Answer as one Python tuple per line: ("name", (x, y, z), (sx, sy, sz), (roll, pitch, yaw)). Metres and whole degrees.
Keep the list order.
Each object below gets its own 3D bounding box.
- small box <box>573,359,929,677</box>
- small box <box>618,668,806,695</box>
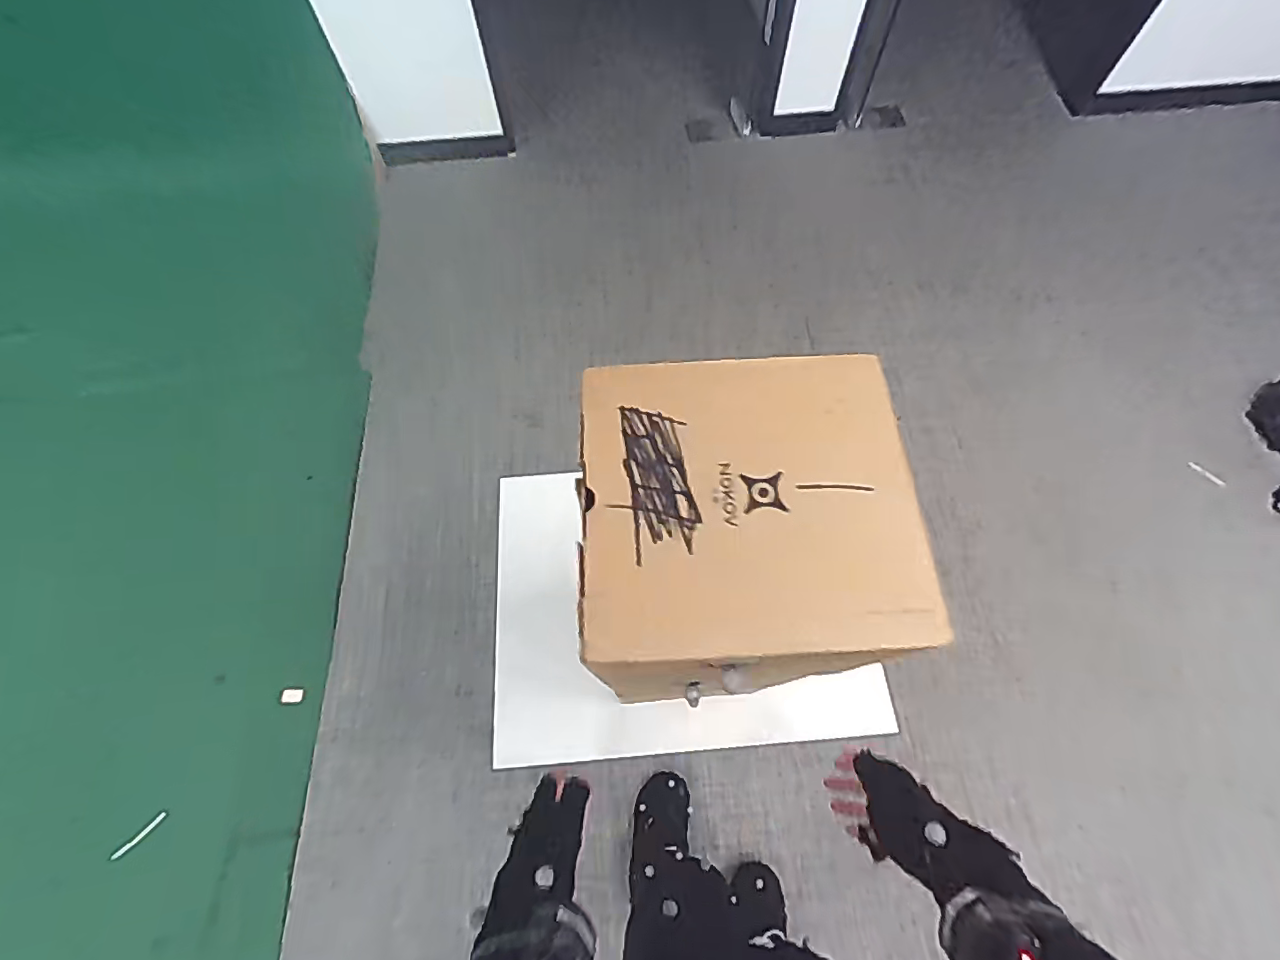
("small box", (0.054, 0.038, 0.366), (0.179, 0.176, 0.168), (-2, 66, 0))
("small box", (0.055, 0.102, 0.521), (0.168, 0.176, 0.179), (-6, 66, -2))
